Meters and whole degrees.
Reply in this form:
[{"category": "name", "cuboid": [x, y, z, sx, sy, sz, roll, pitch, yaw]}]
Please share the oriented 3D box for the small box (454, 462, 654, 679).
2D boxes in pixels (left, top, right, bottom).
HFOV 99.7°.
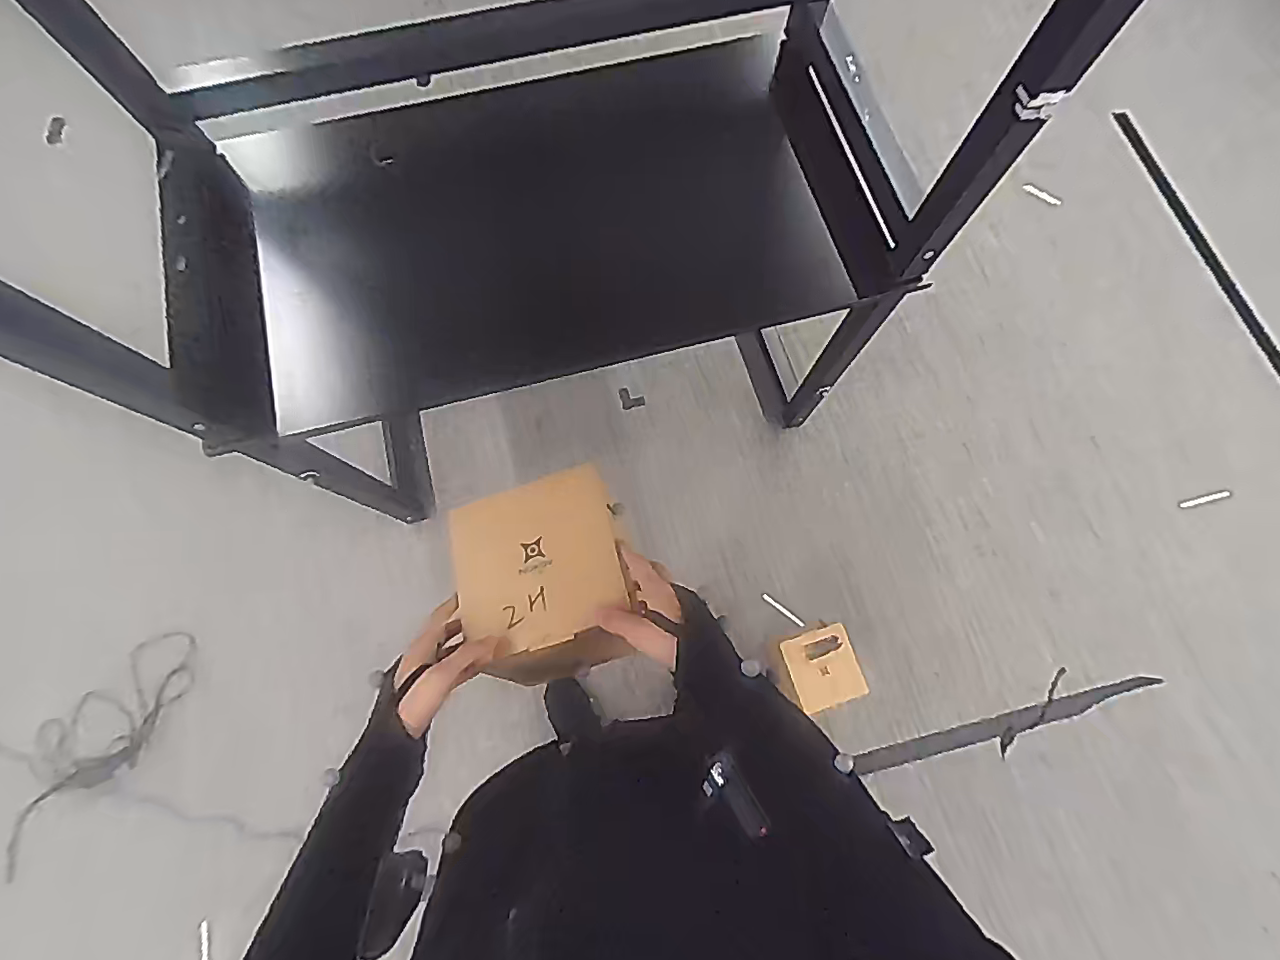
[{"category": "small box", "cuboid": [-0.091, 0.110, 0.613, 0.168, 0.176, 0.179, -18, 63, 1]}]
